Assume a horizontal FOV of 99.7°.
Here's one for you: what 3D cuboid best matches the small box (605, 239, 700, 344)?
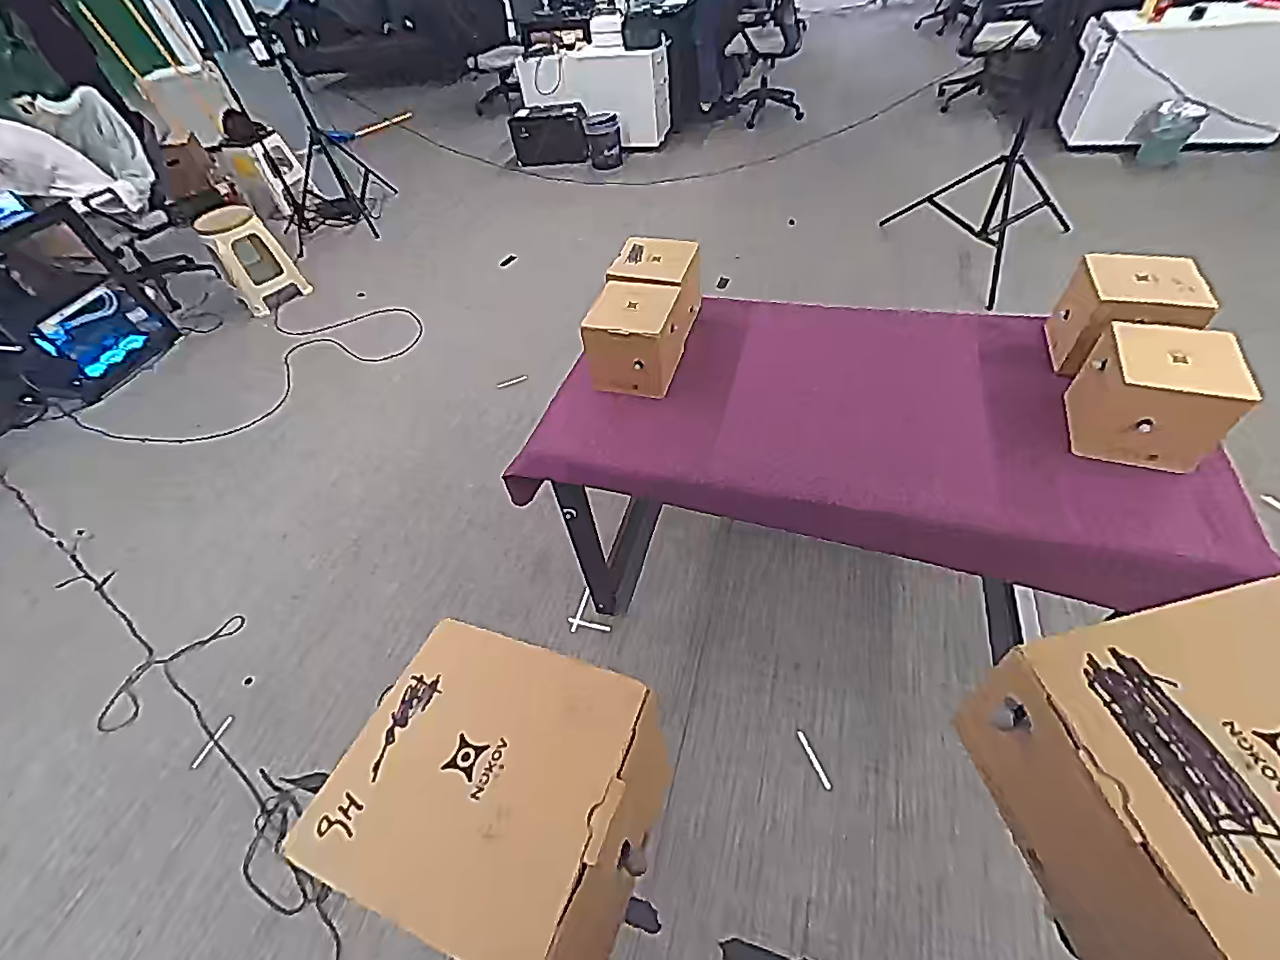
[{"bbox_3d":[0.037,-0.442,1.274,0.179,0.176,0.168,12,54,16],"label":"small box"}]

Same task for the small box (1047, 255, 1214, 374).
[{"bbox_3d":[0.919,-0.309,1.040,0.179,0.176,0.168,11,53,15],"label":"small box"}]

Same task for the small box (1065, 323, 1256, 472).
[{"bbox_3d":[0.854,-0.138,0.912,0.168,0.176,0.179,13,52,19],"label":"small box"}]

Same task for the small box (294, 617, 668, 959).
[{"bbox_3d":[-0.086,0.233,0.393,0.179,0.176,0.168,12,48,19],"label":"small box"}]
